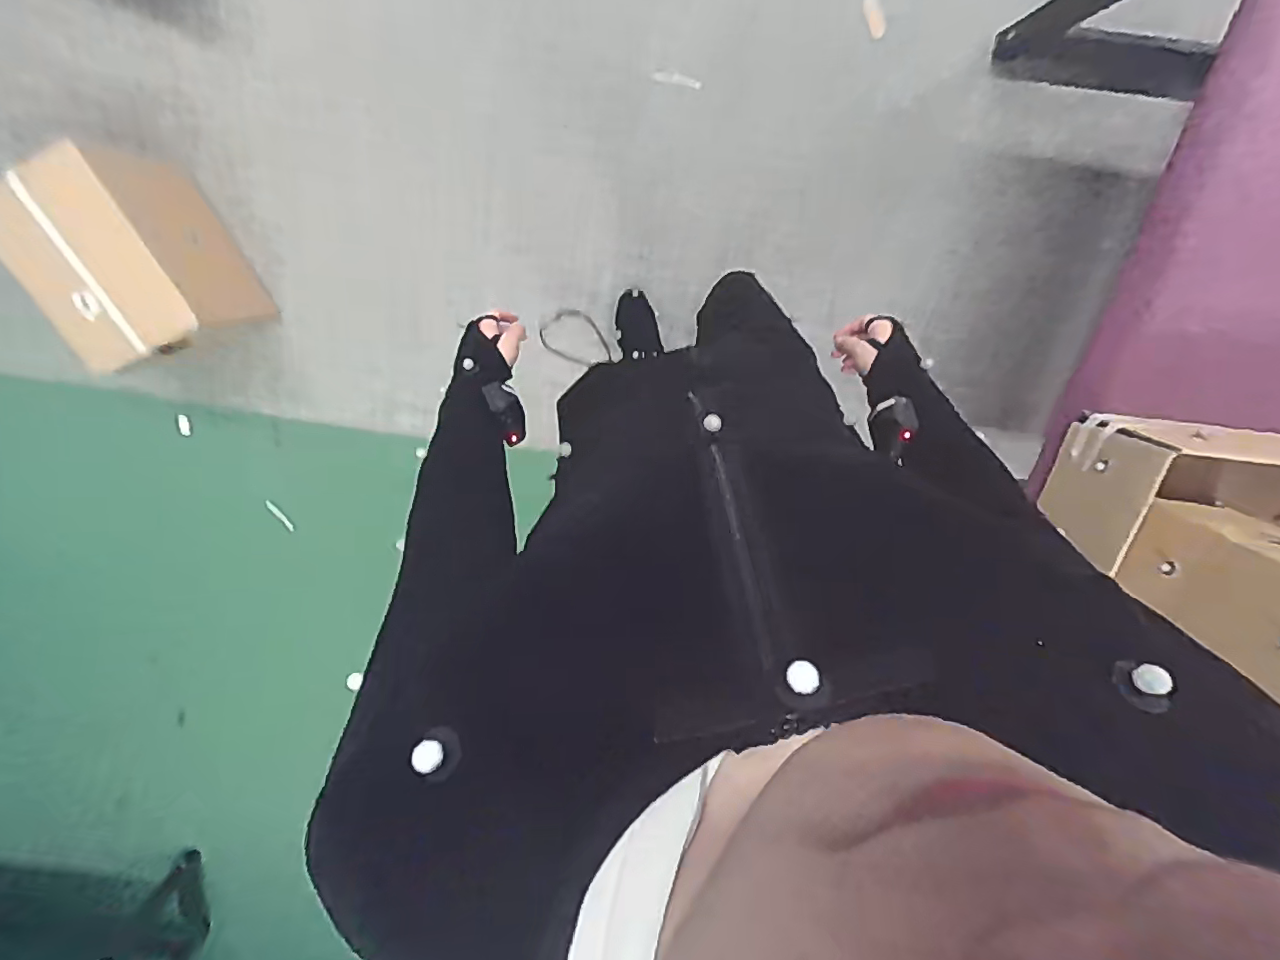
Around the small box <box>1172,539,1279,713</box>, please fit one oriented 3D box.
[{"bbox_3d":[0.838,0.190,0.671,0.168,0.176,0.179,9,110,-3],"label":"small box"}]

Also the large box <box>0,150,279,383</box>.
[{"bbox_3d":[-1.218,-0.508,1.326,0.320,0.320,0.408,-22,111,9],"label":"large box"}]
